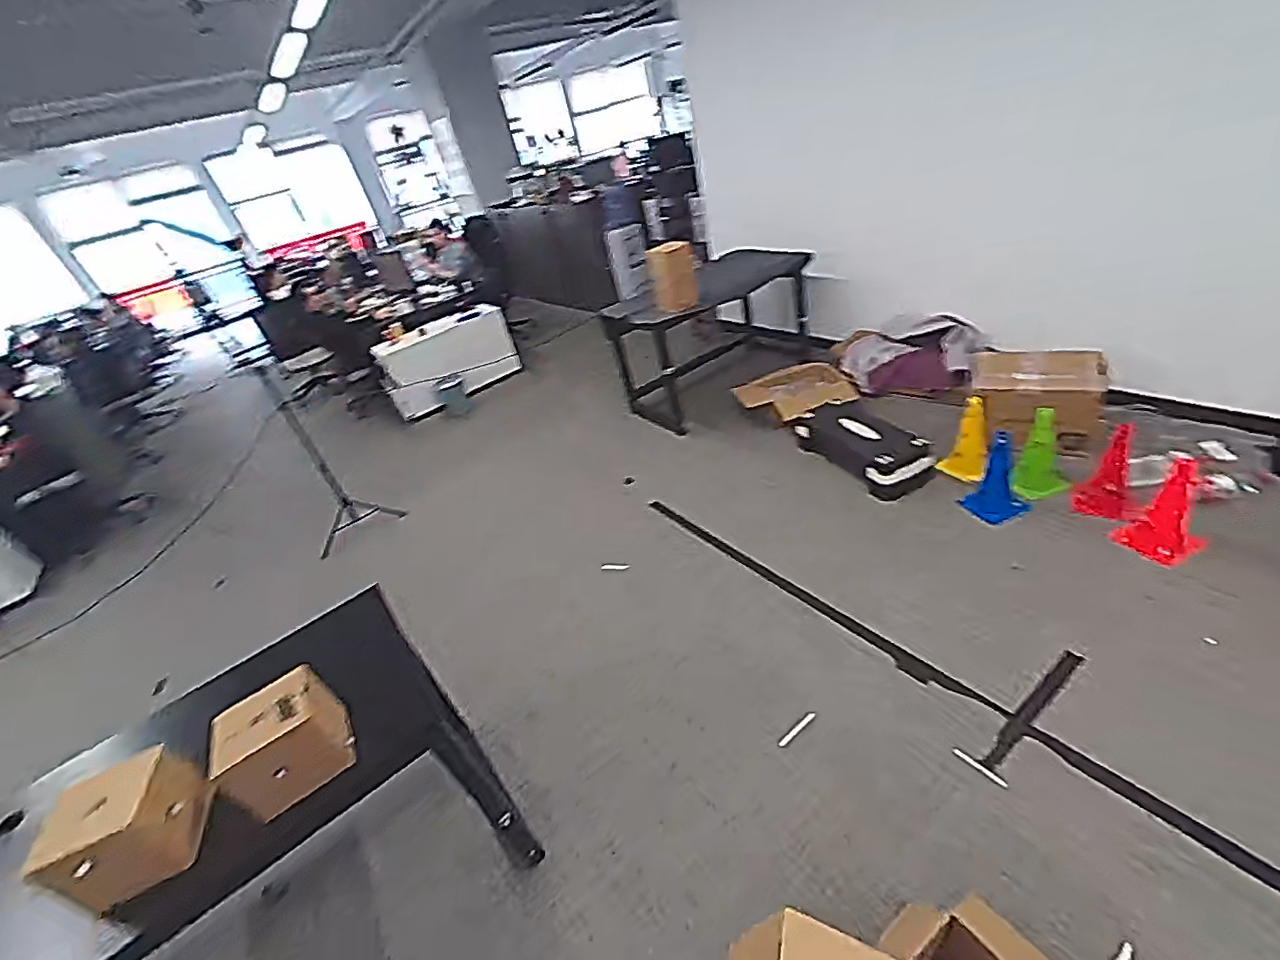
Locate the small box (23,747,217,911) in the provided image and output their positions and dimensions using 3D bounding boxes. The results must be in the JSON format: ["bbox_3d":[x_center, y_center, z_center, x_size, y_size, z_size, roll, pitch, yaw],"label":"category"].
[{"bbox_3d":[-0.949,0.651,1.012,0.179,0.176,0.168,-25,34,-12],"label":"small box"}]

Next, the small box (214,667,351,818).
[{"bbox_3d":[-0.710,0.526,1.090,0.179,0.176,0.168,-32,36,-20],"label":"small box"}]

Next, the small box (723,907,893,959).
[{"bbox_3d":[0.176,0.572,0.532,0.179,0.176,0.168,20,37,7],"label":"small box"}]
